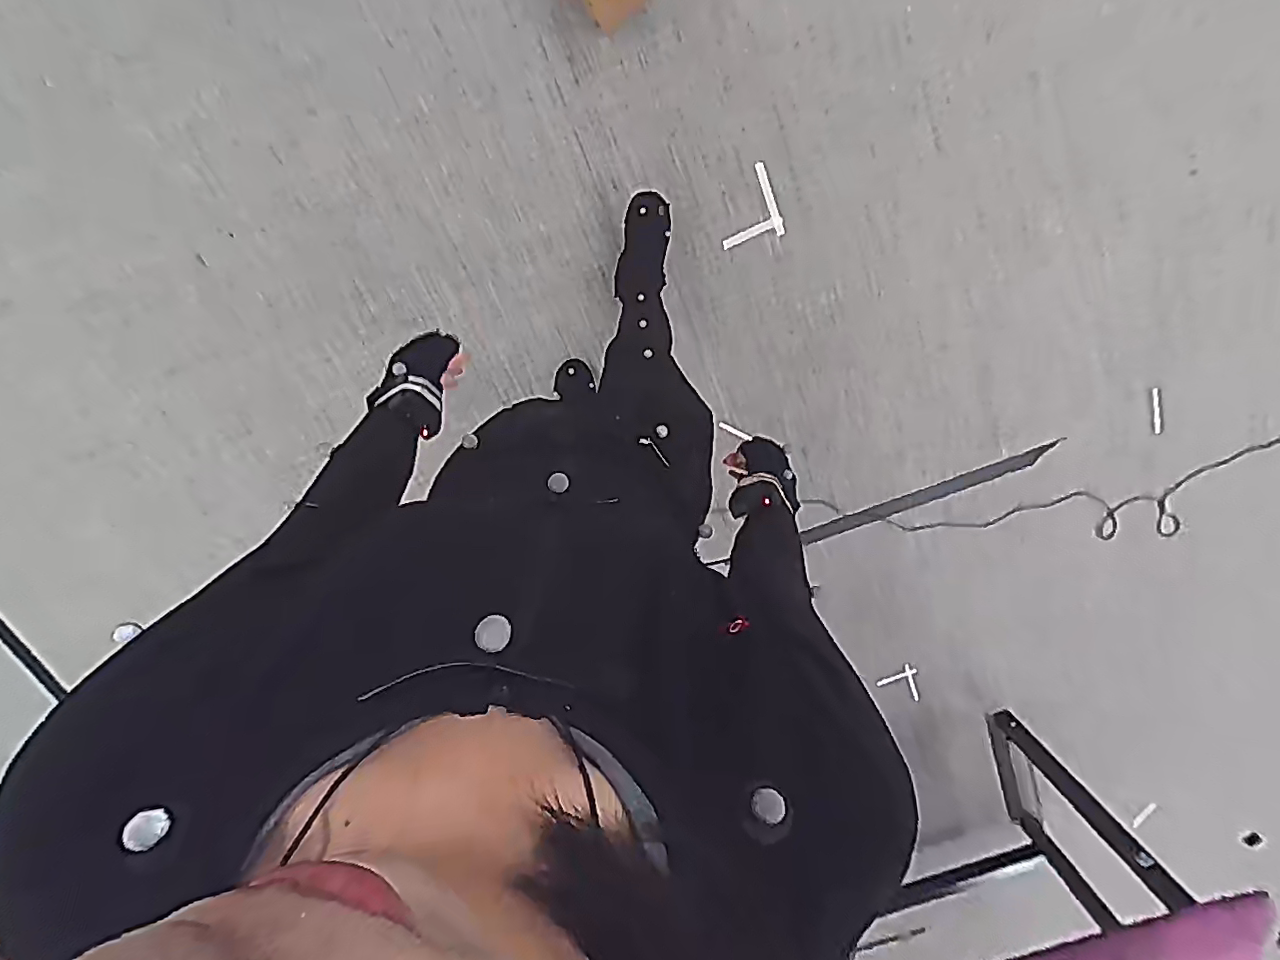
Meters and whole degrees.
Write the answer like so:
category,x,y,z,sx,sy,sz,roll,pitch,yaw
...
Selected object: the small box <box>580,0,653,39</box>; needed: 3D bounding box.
category,x,y,z,sx,sy,sz,roll,pitch,yaw
small box,-0.048,-1.070,1.102,0.179,0.176,0.168,-39,105,9
